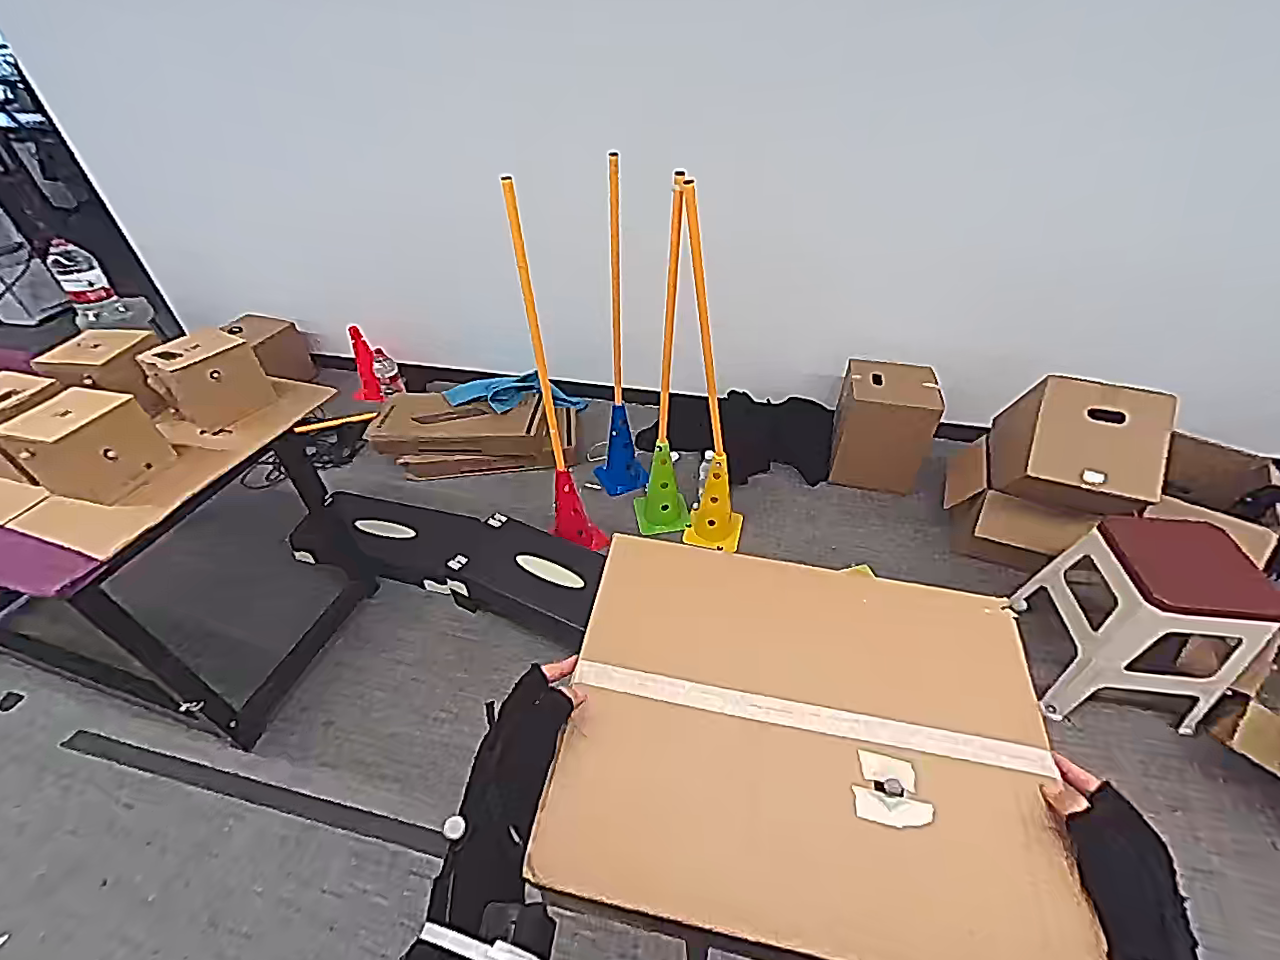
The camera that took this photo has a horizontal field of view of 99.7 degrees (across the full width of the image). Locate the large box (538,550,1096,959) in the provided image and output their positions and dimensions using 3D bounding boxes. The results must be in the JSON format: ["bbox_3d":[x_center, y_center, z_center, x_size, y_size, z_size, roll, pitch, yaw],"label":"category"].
[{"bbox_3d":[0.141,0.314,0.585,0.408,0.320,0.320,9,50,7],"label":"large box"}]
